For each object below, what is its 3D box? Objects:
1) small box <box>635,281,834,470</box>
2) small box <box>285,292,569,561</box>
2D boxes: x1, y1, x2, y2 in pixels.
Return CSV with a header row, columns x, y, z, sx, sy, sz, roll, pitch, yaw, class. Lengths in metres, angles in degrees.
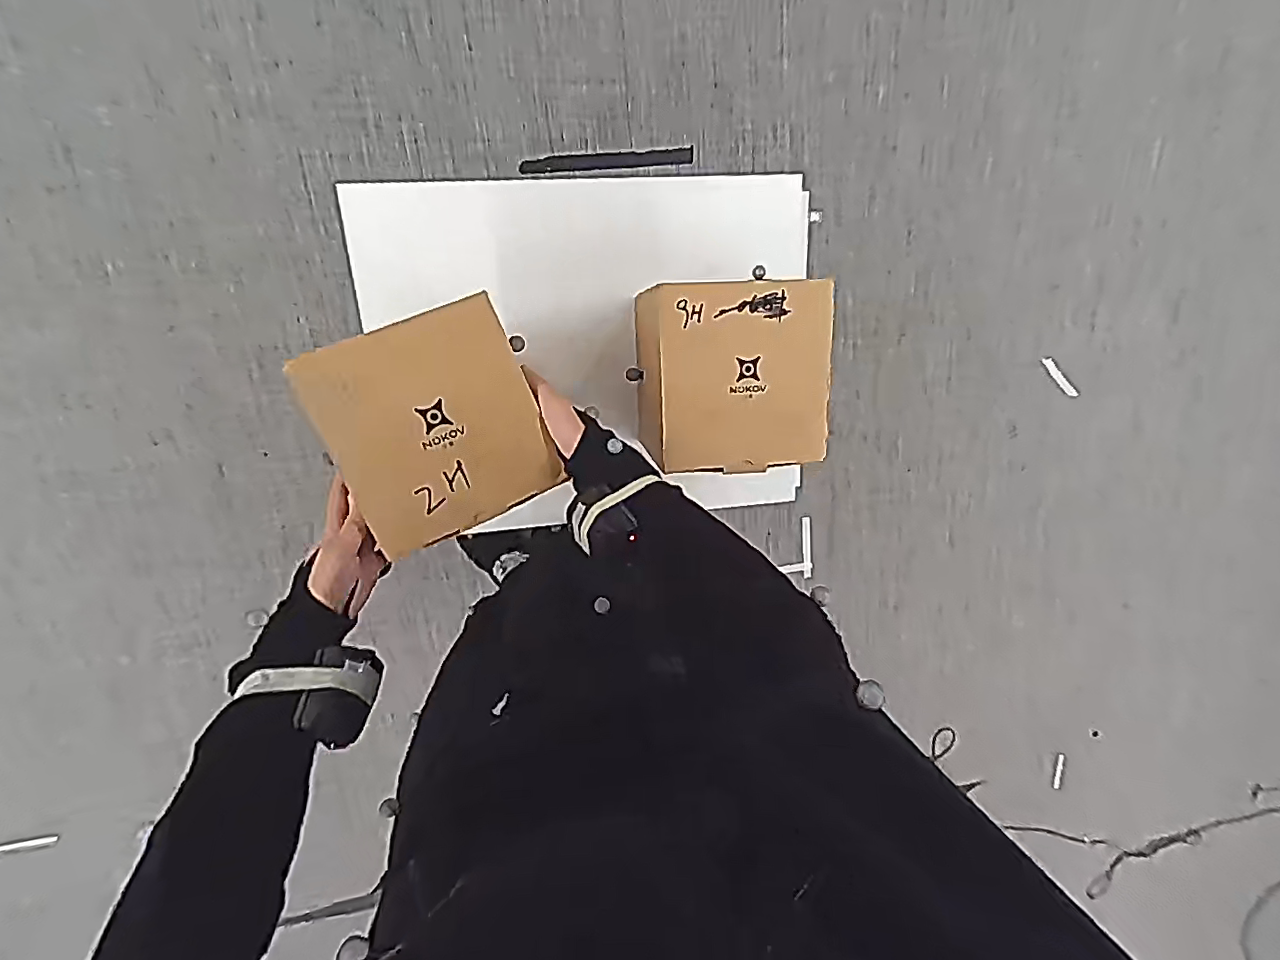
x,y,z,sx,sy,sz,roll,pitch,yaw,class
0.087,-0.119,0.583,0.168,0.176,0.179,-4,107,-8,small box
-0.190,-0.050,0.514,0.168,0.176,0.179,-27,104,-14,small box
